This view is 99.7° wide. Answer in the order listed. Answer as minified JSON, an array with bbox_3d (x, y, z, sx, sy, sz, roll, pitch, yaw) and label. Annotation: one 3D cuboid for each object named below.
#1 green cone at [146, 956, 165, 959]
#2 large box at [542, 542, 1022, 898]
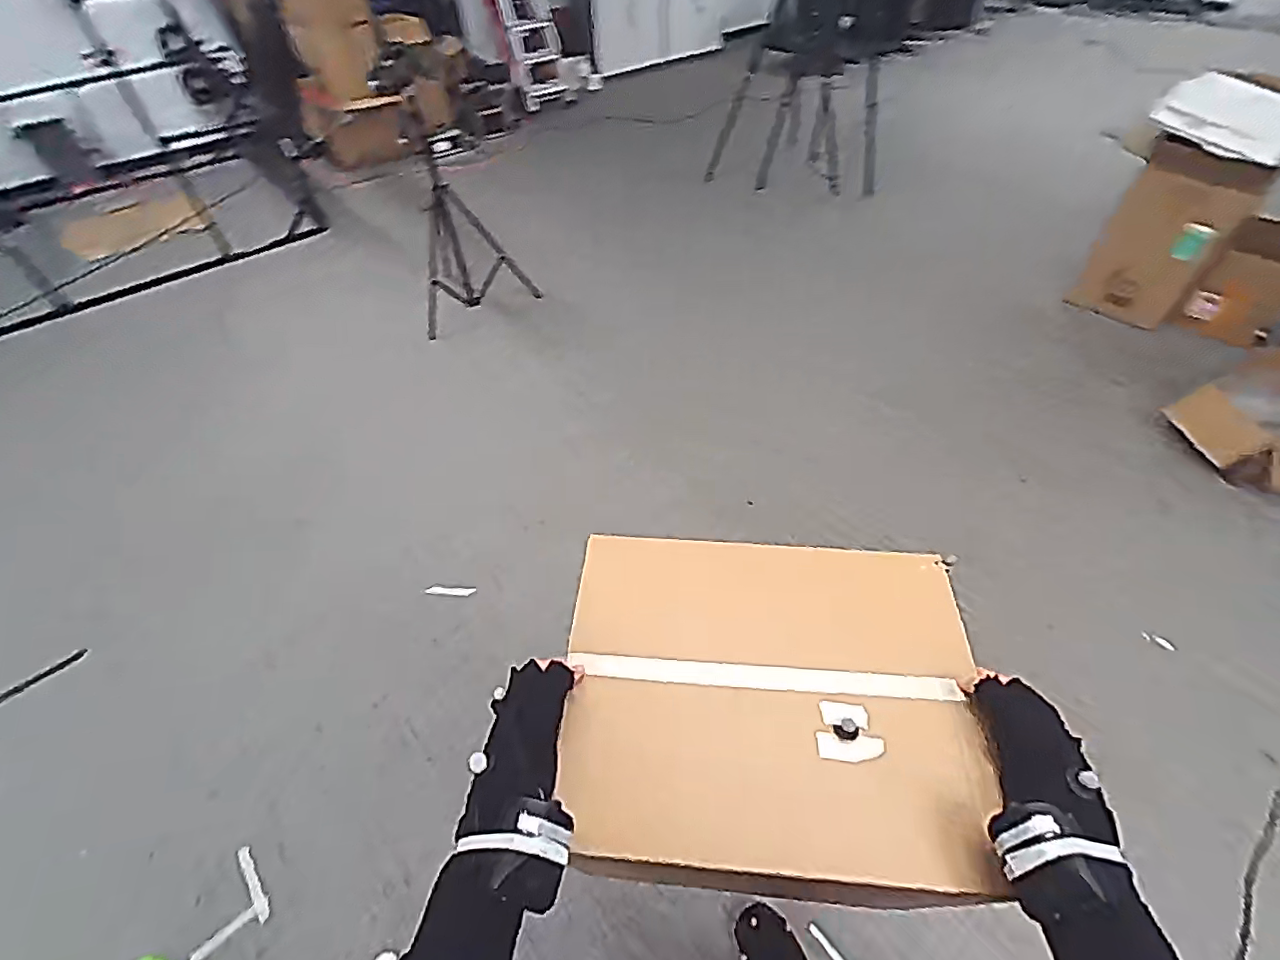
[{"bbox_3d":[-0.982,0.971,0.938,0.202,0.368,0.200,6,48,11],"label":"green cone"},{"bbox_3d":[0.123,0.293,0.653,0.408,0.320,0.320,2,51,4],"label":"large box"}]
